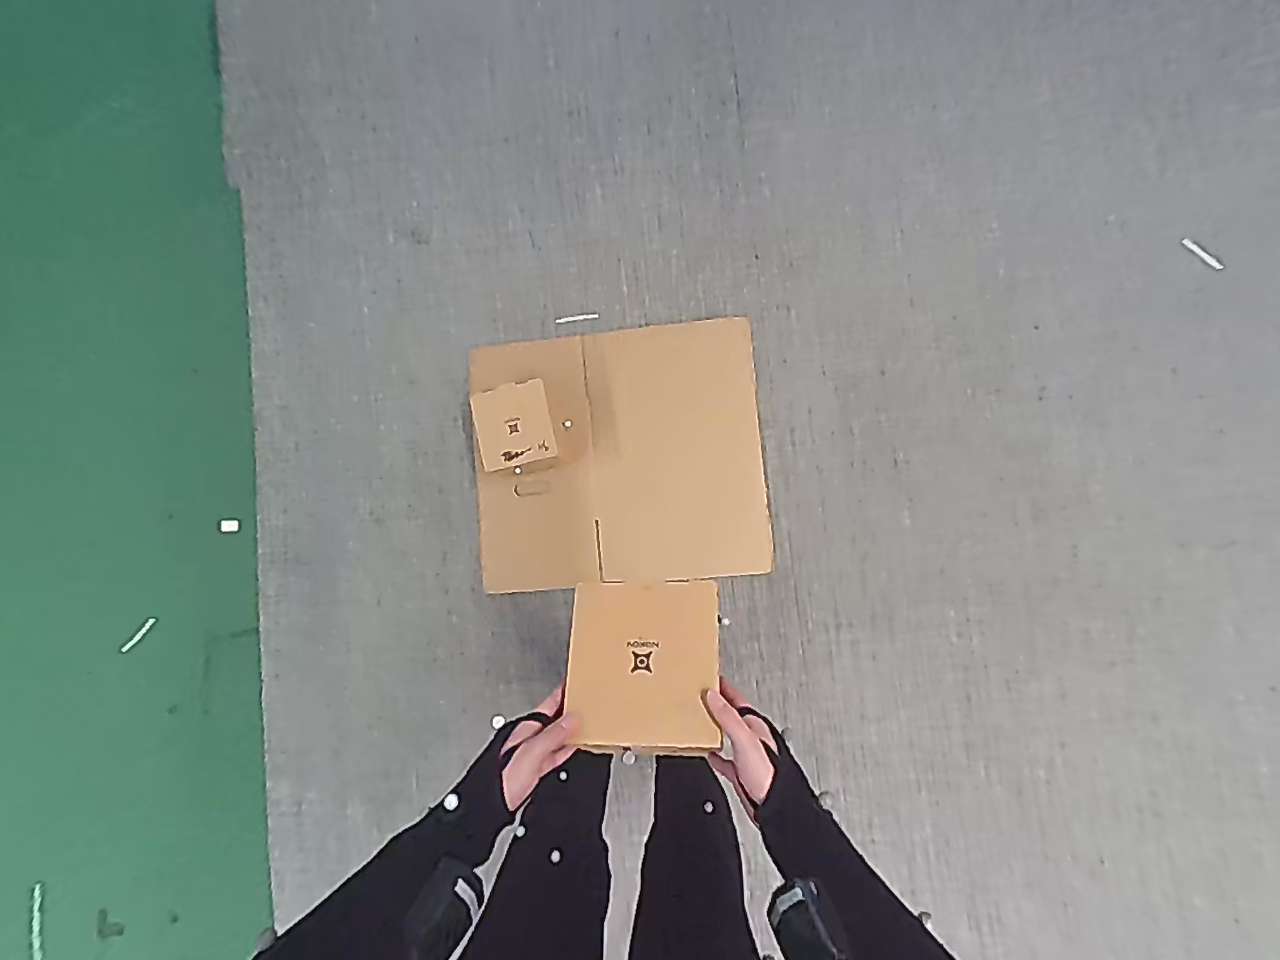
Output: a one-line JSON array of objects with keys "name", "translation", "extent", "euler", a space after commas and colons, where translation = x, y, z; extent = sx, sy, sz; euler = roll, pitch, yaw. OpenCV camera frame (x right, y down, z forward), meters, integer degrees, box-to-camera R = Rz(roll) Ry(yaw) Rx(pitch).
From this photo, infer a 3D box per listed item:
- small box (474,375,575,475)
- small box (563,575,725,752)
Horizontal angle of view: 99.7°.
[{"name": "small box", "translation": [-0.256, -0.117, 1.228], "extent": [0.168, 0.176, 0.179], "euler": [-13, 85, 5]}, {"name": "small box", "translation": [0.015, 0.227, 0.655], "extent": [0.168, 0.176, 0.179], "euler": [-3, 59, 8]}]
